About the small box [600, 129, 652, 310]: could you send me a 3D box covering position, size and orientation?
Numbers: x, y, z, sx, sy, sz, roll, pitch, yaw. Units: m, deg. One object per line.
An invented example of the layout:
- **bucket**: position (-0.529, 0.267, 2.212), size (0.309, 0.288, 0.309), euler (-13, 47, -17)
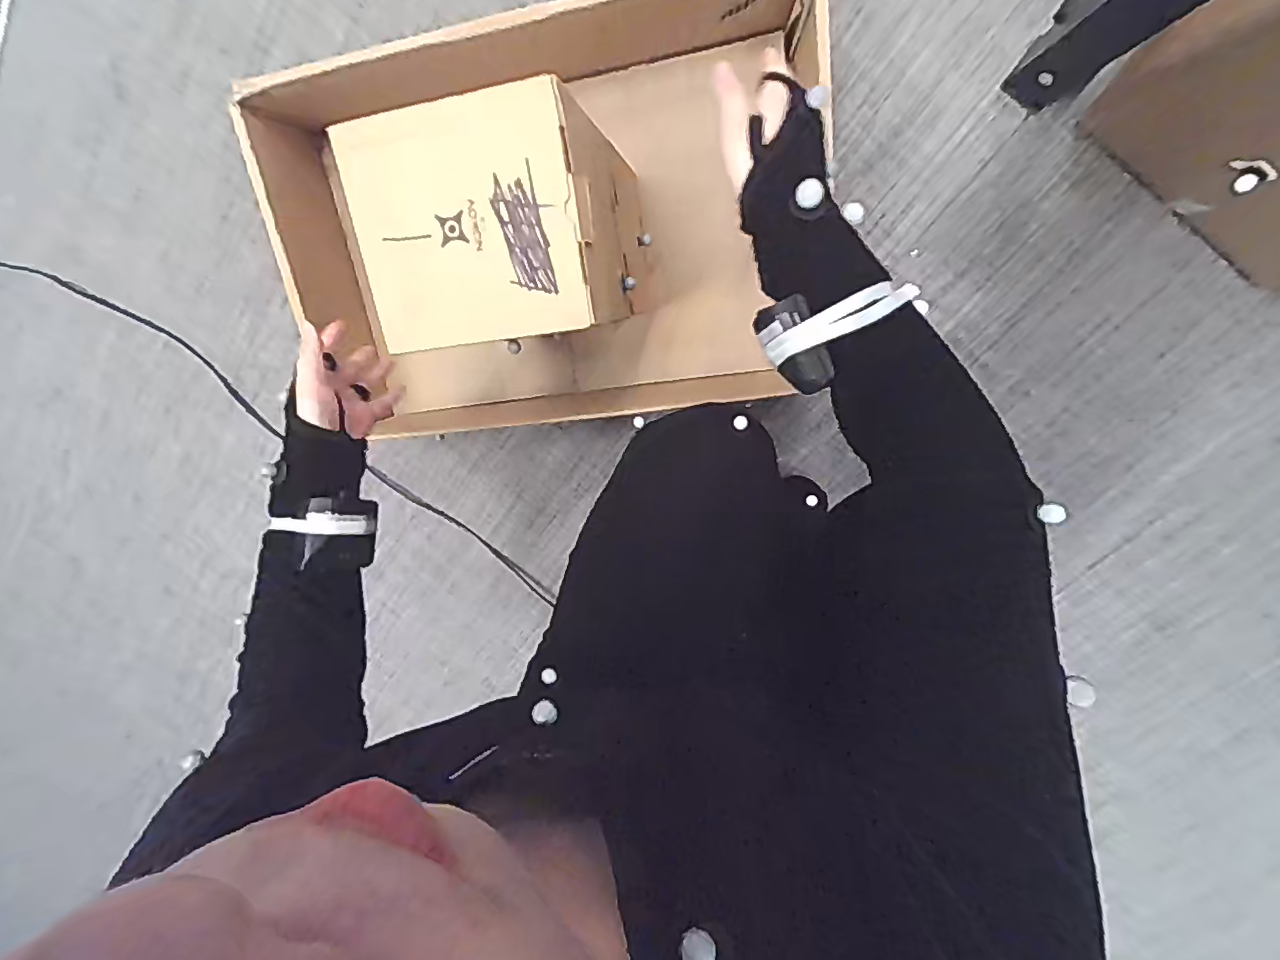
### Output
- **small box**: position (-0.091, -0.276, 0.625), size (0.179, 0.176, 0.168), euler (-5, 110, 11)

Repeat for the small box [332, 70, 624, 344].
- **small box**: position (-0.116, -0.219, 0.473), size (0.179, 0.176, 0.168), euler (-4, 109, 12)
